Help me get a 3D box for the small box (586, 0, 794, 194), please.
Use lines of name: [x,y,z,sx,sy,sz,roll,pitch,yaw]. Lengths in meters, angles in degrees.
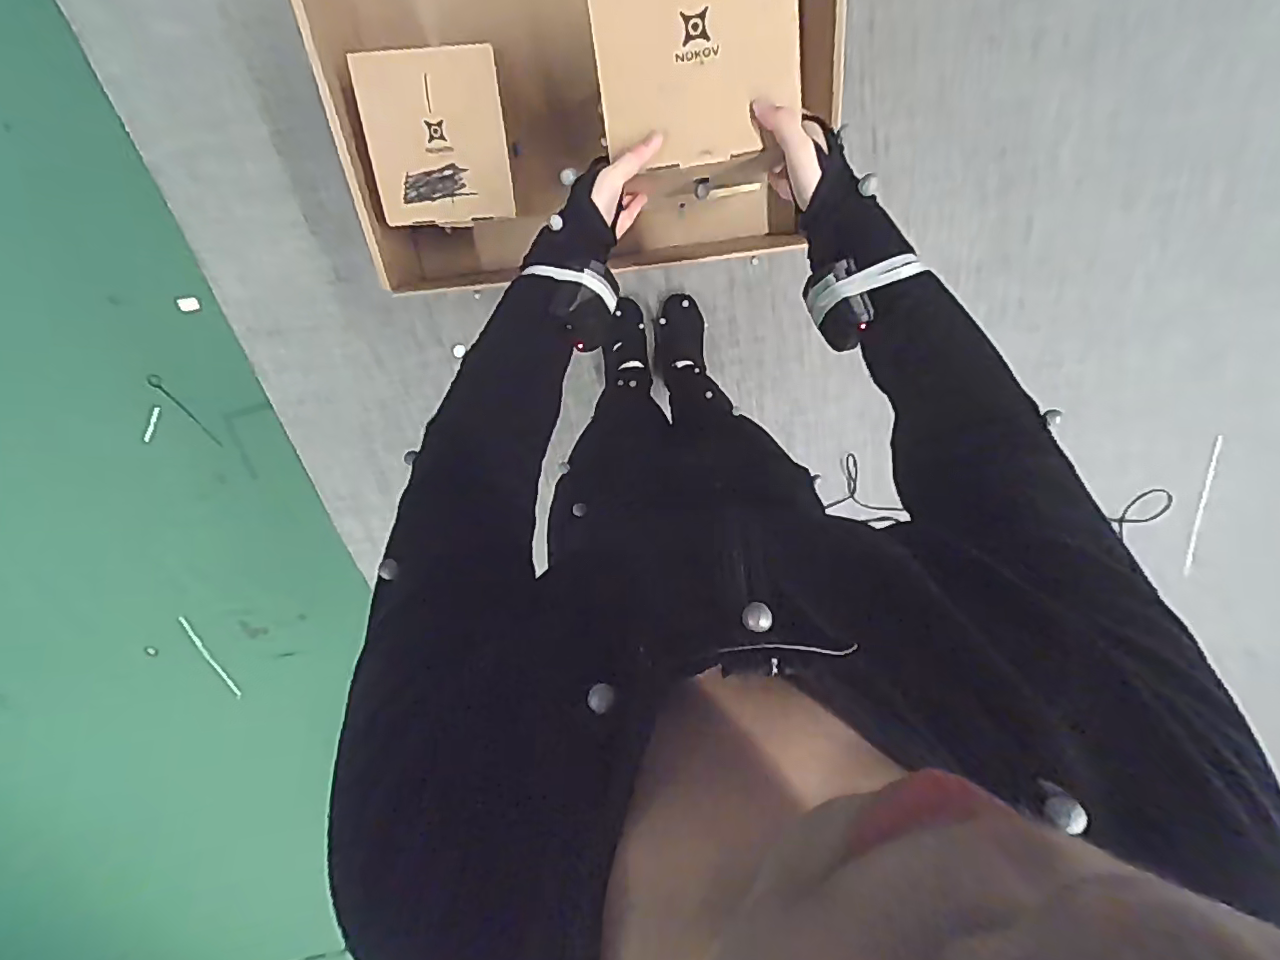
small box: [0.048,-0.383,0.515,0.168,0.176,0.179,-6,111,6]
